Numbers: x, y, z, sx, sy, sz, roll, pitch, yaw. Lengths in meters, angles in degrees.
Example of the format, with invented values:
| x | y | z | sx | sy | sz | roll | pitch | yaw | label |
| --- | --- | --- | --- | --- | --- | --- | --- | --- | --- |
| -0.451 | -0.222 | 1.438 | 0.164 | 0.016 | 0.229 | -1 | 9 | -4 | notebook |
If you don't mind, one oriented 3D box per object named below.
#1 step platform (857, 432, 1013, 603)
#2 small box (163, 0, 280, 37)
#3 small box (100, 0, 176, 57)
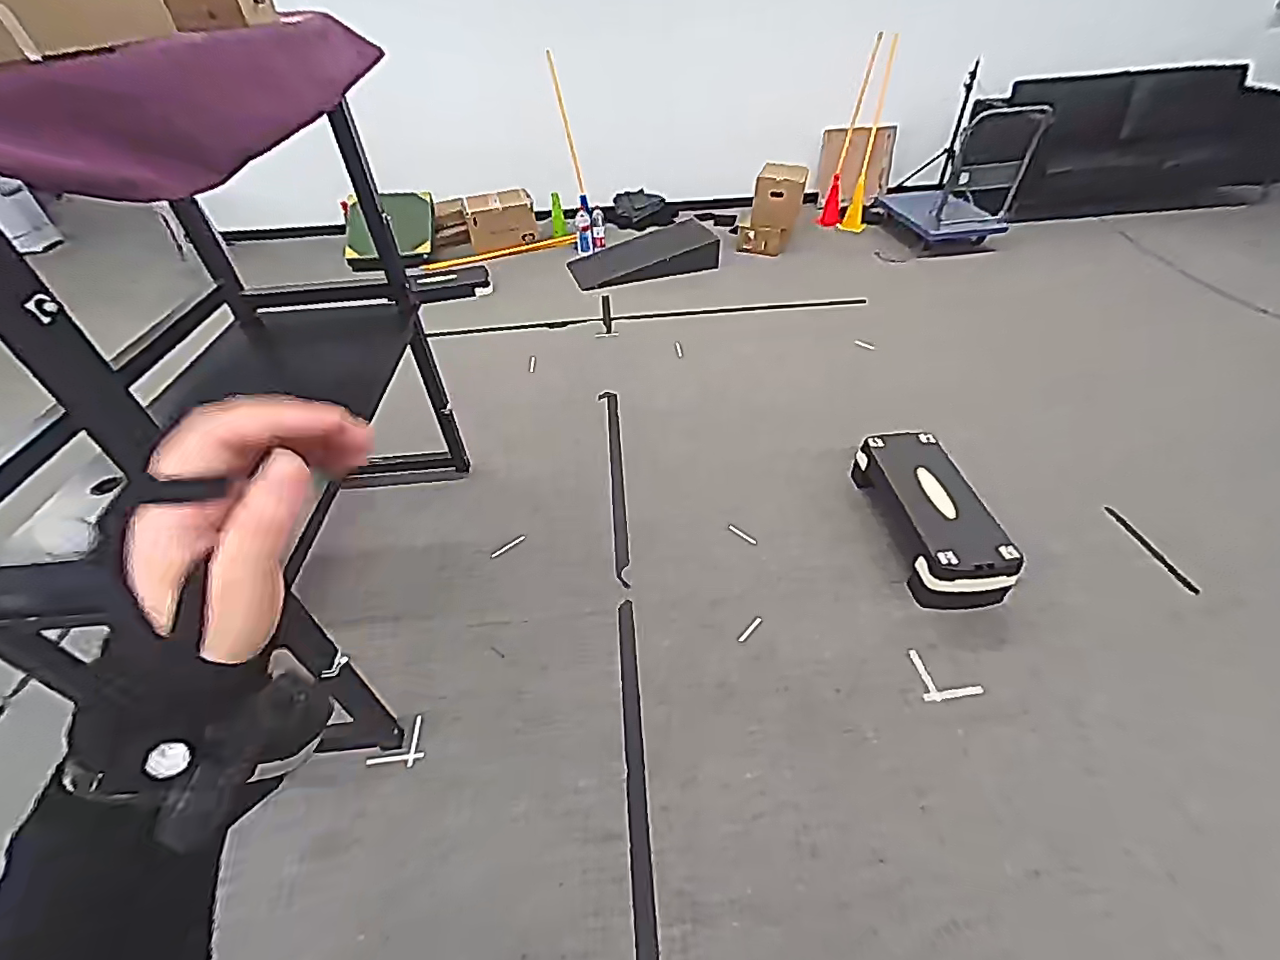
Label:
| x | y | z | sx | sy | sz | roll | pitch | yaw | label |
| --- | --- | --- | --- | --- | --- | --- | --- | --- | --- |
| 1.014 | 0.098 | 1.924 | 0.286 | 0.204 | 0.684 | -1 | 42 | 2 | step platform |
| -0.882 | -1.022 | 1.108 | 0.168 | 0.176 | 0.179 | -6 | 43 | -2 | small box |
| -0.884 | -0.772 | 0.841 | 0.168 | 0.176 | 0.179 | -5 | 43 | 0 | small box |
